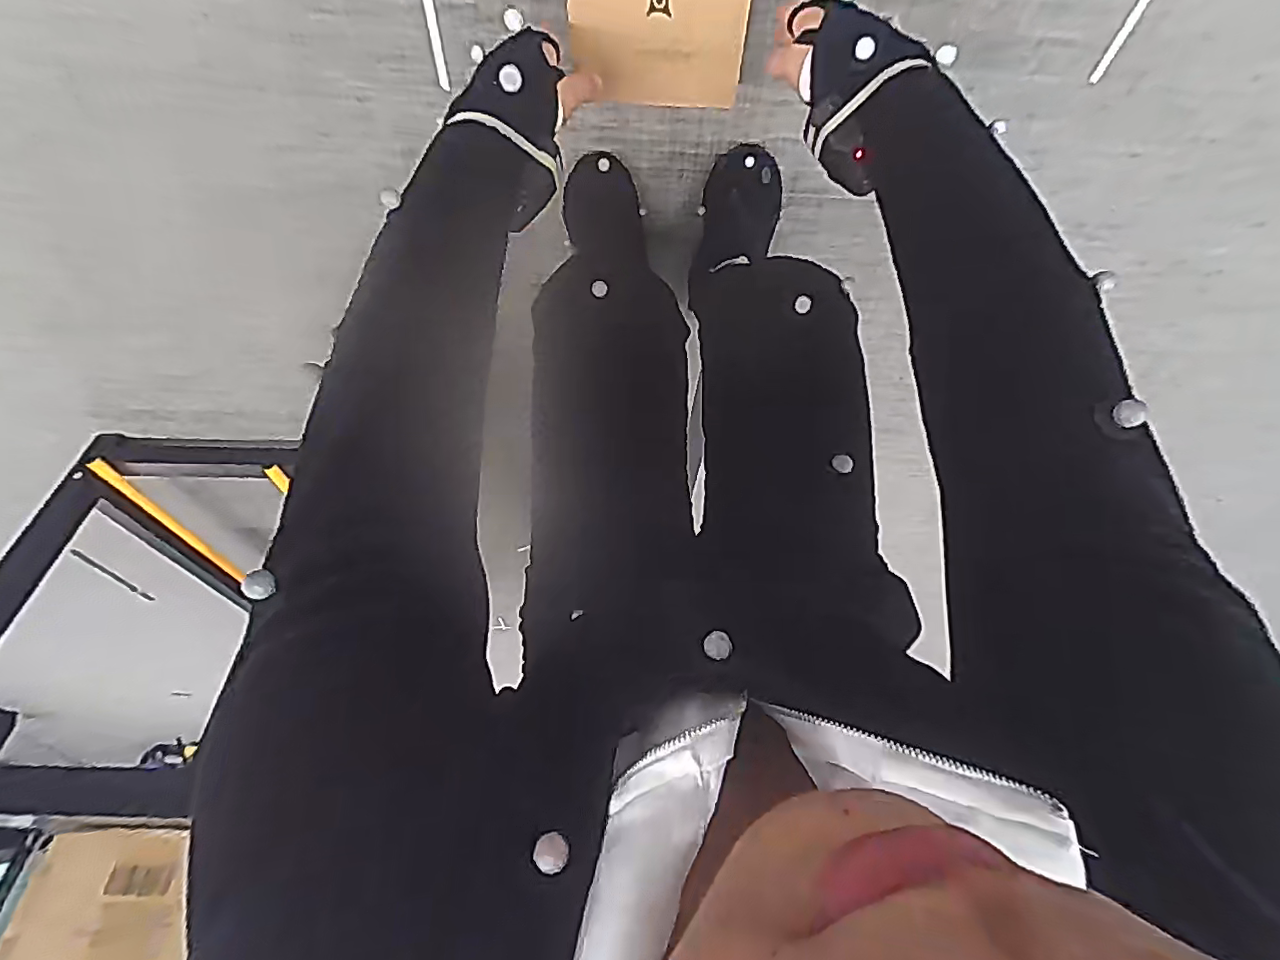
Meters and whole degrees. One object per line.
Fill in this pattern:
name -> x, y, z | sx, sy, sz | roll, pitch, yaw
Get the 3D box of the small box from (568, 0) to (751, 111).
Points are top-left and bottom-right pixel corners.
small box -> 0.017, -0.490, 0.520 | 0.168, 0.176, 0.179 | 2, 146, -1
